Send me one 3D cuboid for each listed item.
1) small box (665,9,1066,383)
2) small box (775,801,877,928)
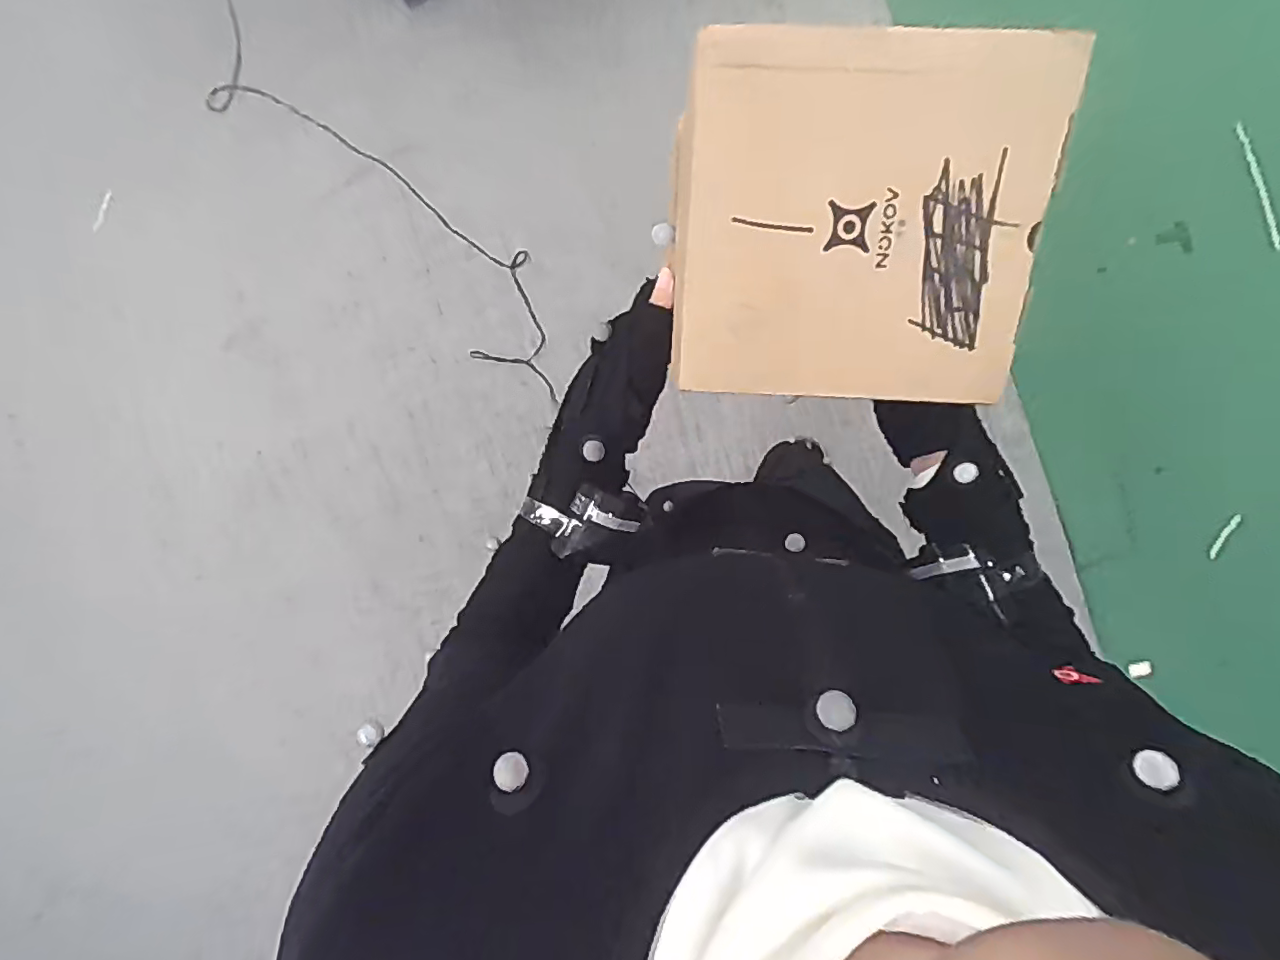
[{"bbox_3d":[0.108,-0.160,0.348,0.179,0.176,0.168,2,108,2],"label":"small box"},{"bbox_3d":[0.434,0.905,1.294,0.168,0.176,0.179,-20,89,7],"label":"small box"}]
